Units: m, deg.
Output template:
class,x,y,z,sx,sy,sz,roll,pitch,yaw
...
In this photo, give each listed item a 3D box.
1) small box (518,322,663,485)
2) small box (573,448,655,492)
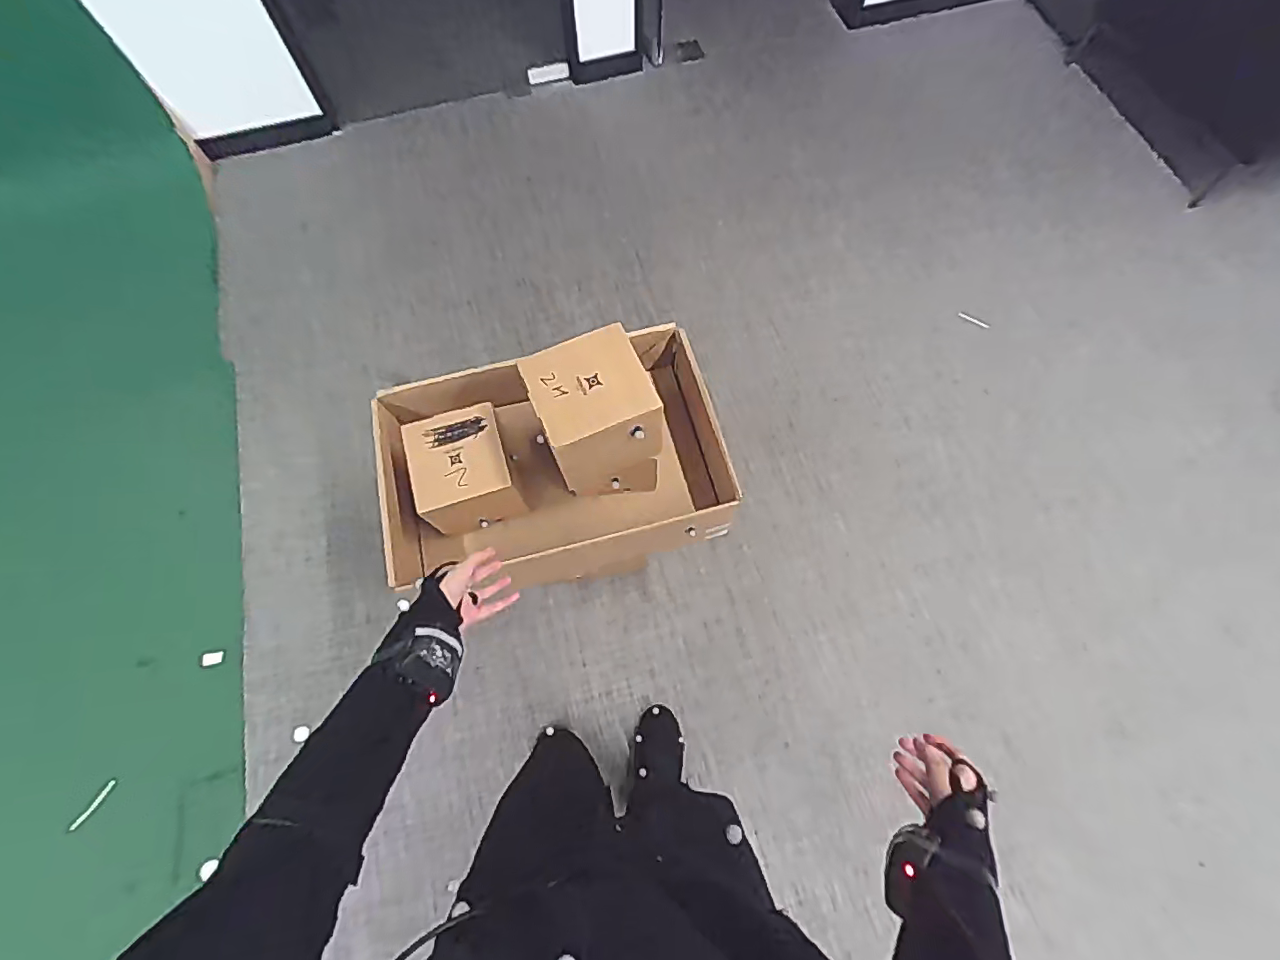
class,x,y,z,sx,sy,sz,roll,pitch,yaw
small box,-0.075,-0.116,0.870,0.179,0.176,0.168,-22,69,-7
small box,-0.059,-0.082,1.034,0.168,0.176,0.179,-5,70,-1
